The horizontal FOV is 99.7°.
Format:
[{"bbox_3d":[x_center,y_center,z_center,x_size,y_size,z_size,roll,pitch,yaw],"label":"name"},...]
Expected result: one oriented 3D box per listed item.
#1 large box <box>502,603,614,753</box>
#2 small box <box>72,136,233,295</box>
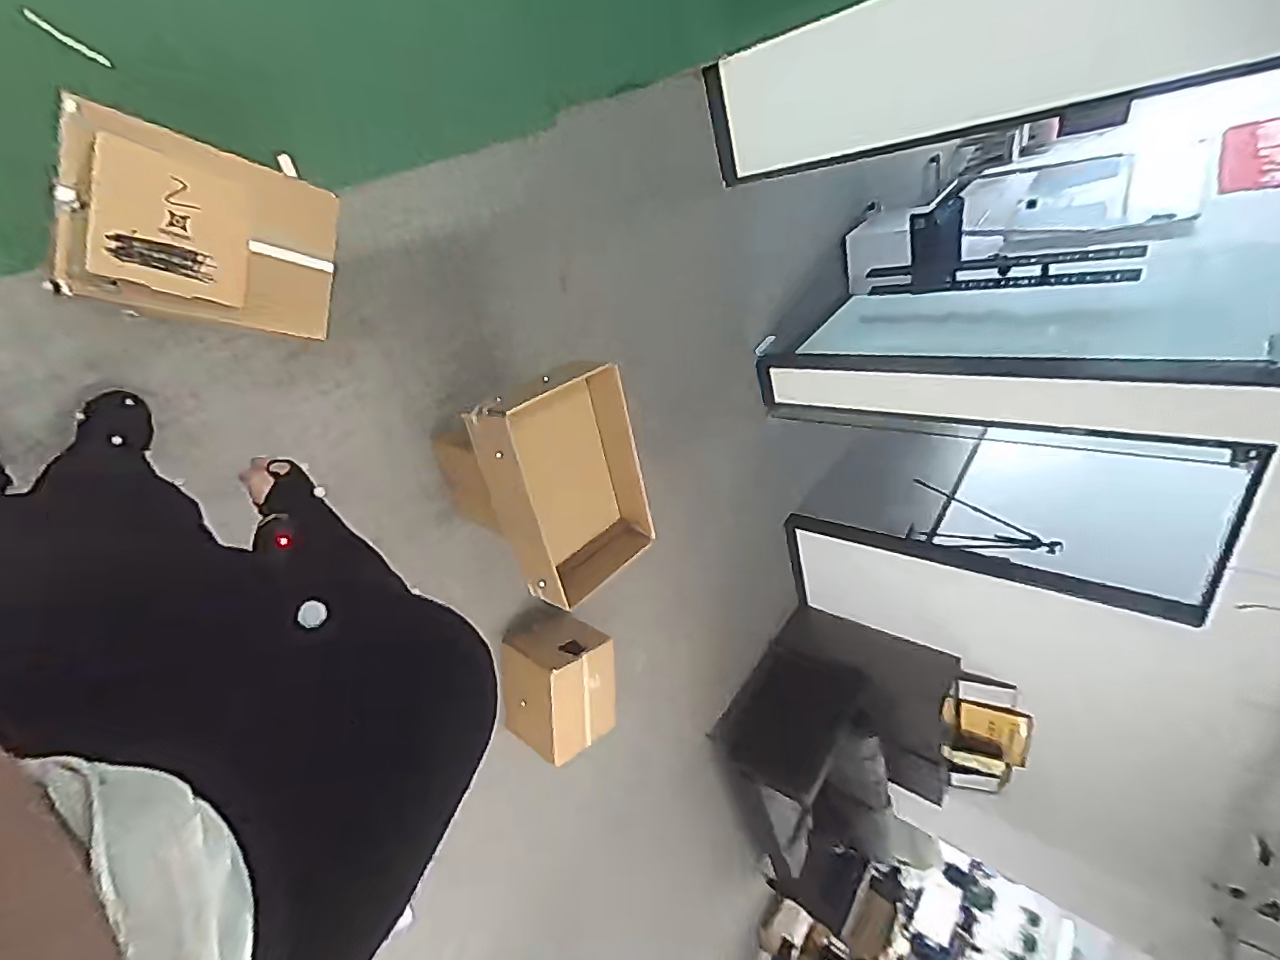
[{"bbox_3d":[-0.322,0.764,2.141,0.320,0.320,0.408,-17,112,-46],"label":"large box"},{"bbox_3d":[-0.795,-0.412,0.881,0.168,0.176,0.179,6,97,-51],"label":"small box"}]
